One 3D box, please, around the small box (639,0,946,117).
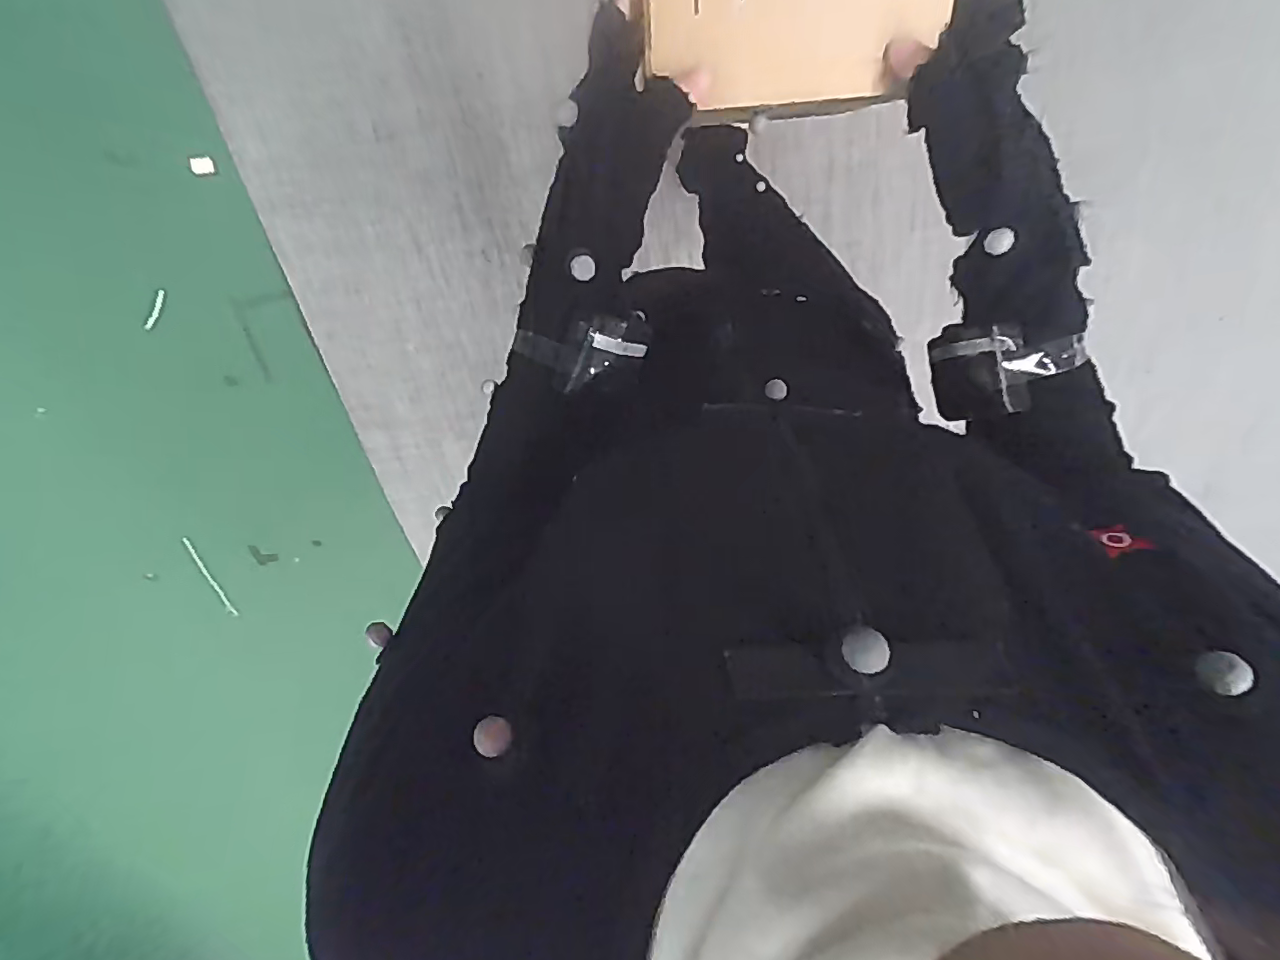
[{"bbox_3d":[0.086,-0.350,0.359,0.179,0.176,0.168,-4,120,0],"label":"small box"}]
